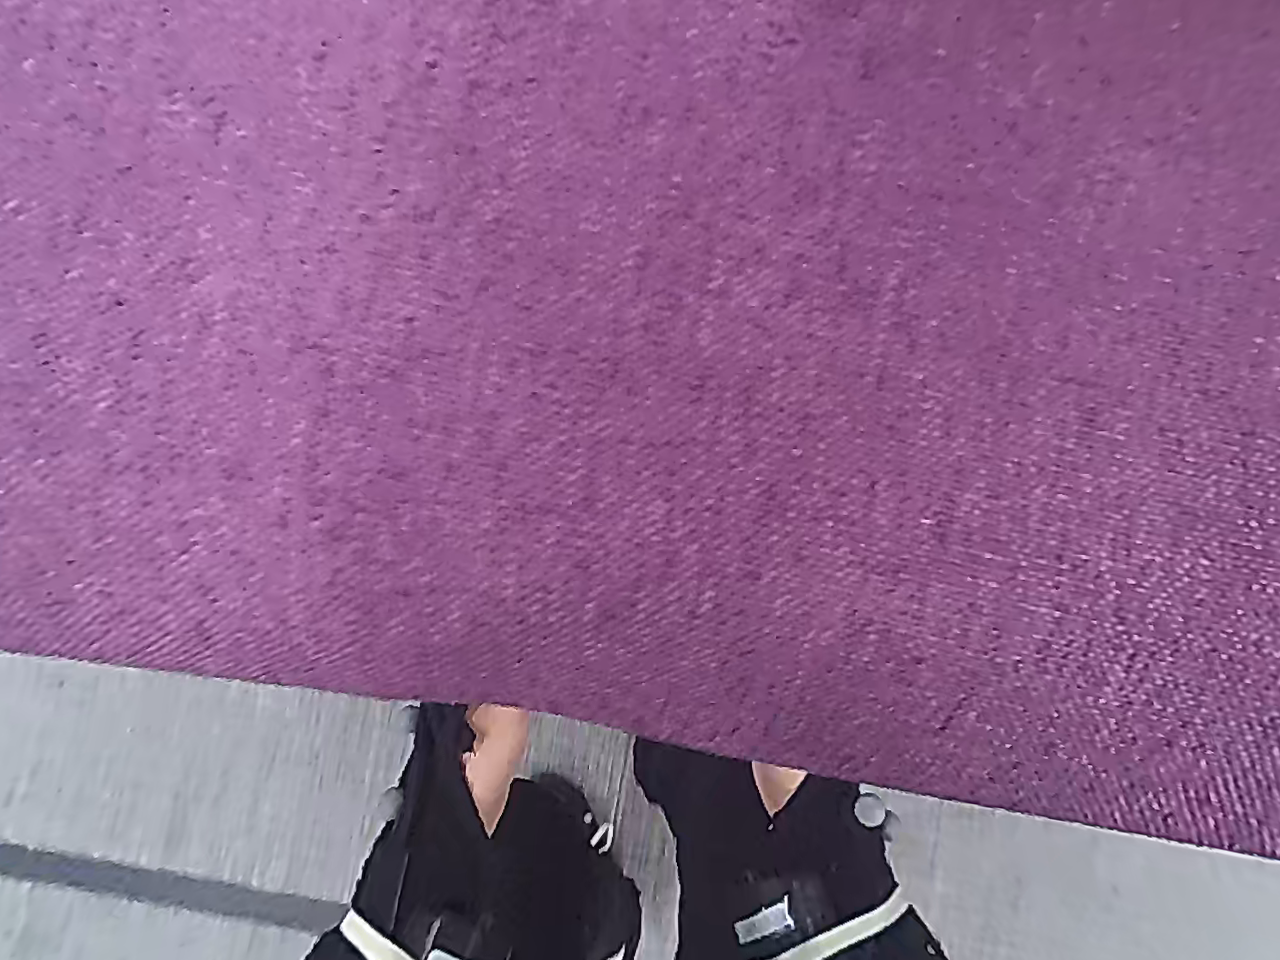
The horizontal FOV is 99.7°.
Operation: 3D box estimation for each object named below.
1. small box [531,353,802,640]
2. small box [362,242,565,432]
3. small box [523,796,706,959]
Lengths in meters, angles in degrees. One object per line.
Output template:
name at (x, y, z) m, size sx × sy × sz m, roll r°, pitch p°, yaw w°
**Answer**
small box at (0.018, 0.018, 0.424) m, size 0.168 × 0.176 × 0.179 m, roll 4°, pitch 82°, yaw -2°
small box at (-0.186, -0.149, 0.622) m, size 0.179 × 0.176 × 0.168 m, roll 5°, pitch 90°, yaw 0°
small box at (-0.032, 0.539, 0.682) m, size 0.179 × 0.176 × 0.168 m, roll -22°, pitch 75°, yaw -7°
